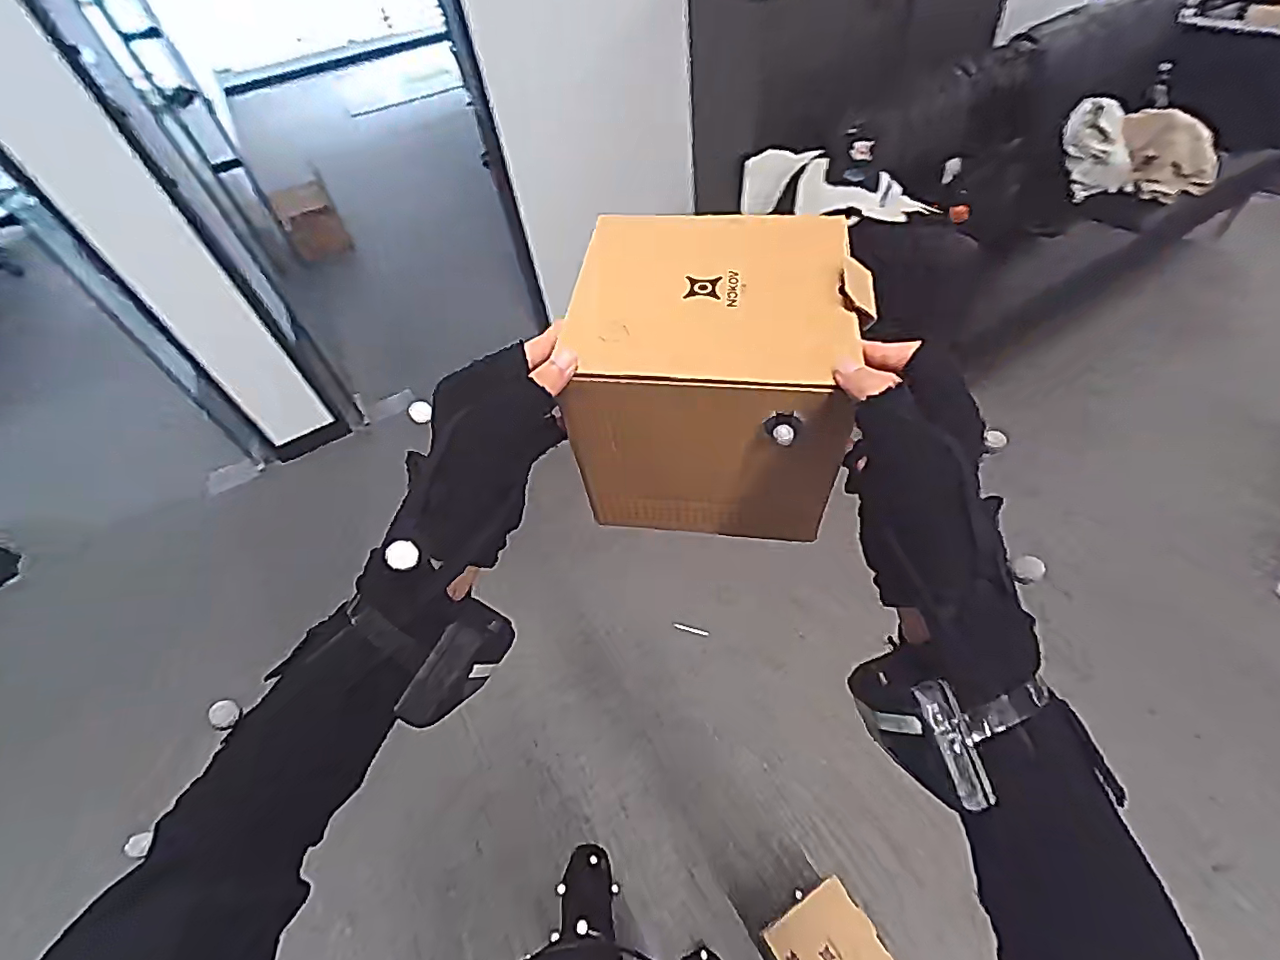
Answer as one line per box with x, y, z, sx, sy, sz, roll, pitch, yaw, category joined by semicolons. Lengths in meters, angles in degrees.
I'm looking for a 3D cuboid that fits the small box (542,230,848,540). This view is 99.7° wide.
0.045;-0.067;0.412;0.179;0.176;0.168;4;54;8;small box

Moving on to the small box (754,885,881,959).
0.332;0.901;1.011;0.179;0.176;0.168;-27;52;-16;small box
